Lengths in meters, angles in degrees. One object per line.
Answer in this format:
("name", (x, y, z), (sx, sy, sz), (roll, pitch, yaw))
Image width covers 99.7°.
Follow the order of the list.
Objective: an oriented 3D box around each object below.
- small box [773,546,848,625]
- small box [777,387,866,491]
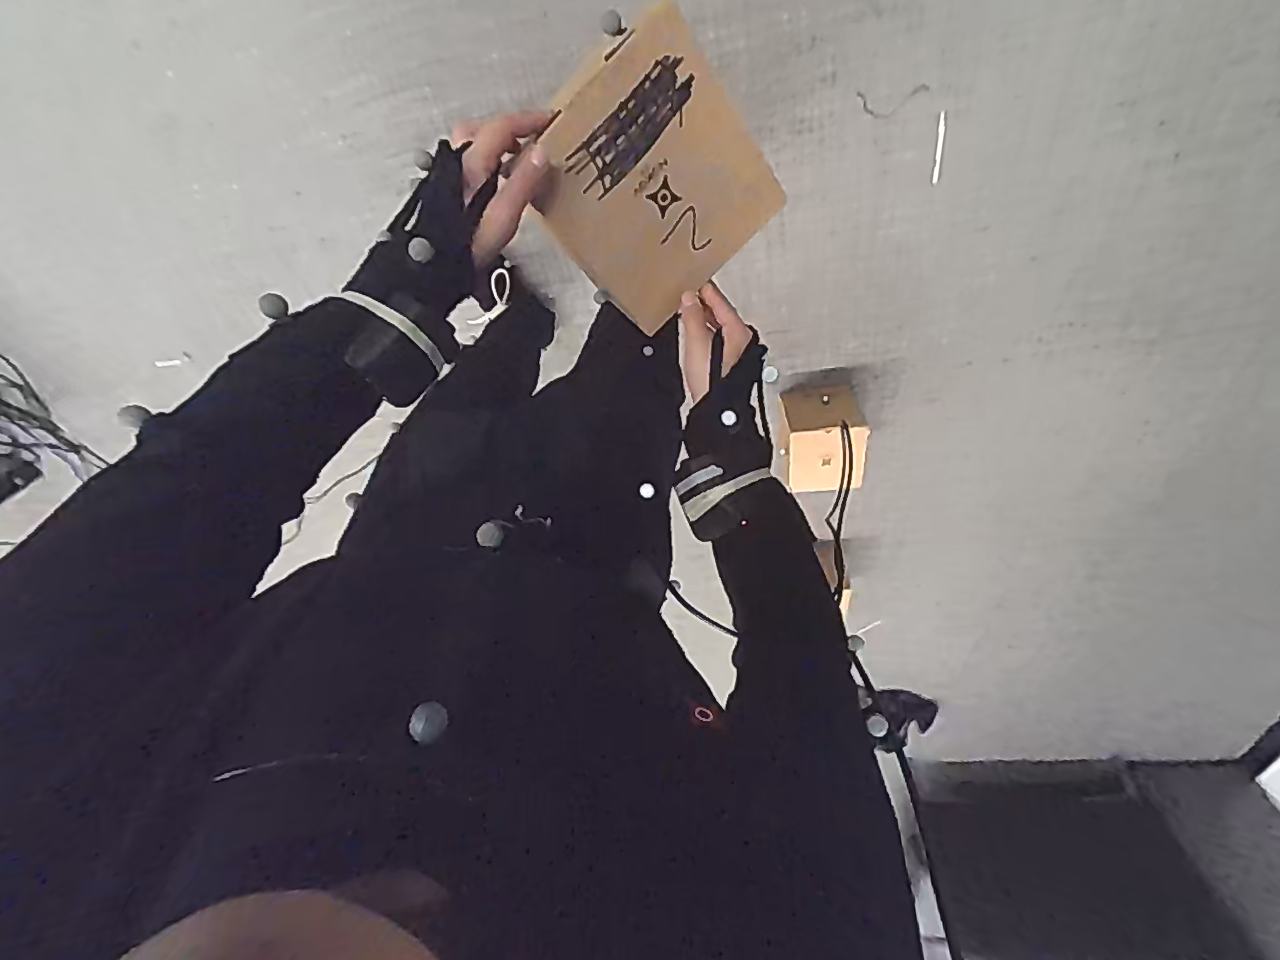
("small box", (0.495, 0.307, 1.595), (0.179, 0.176, 0.168), (-2, 130, 5))
("small box", (0.417, -0.096, 1.270), (0.168, 0.176, 0.179), (-5, 128, 9))
